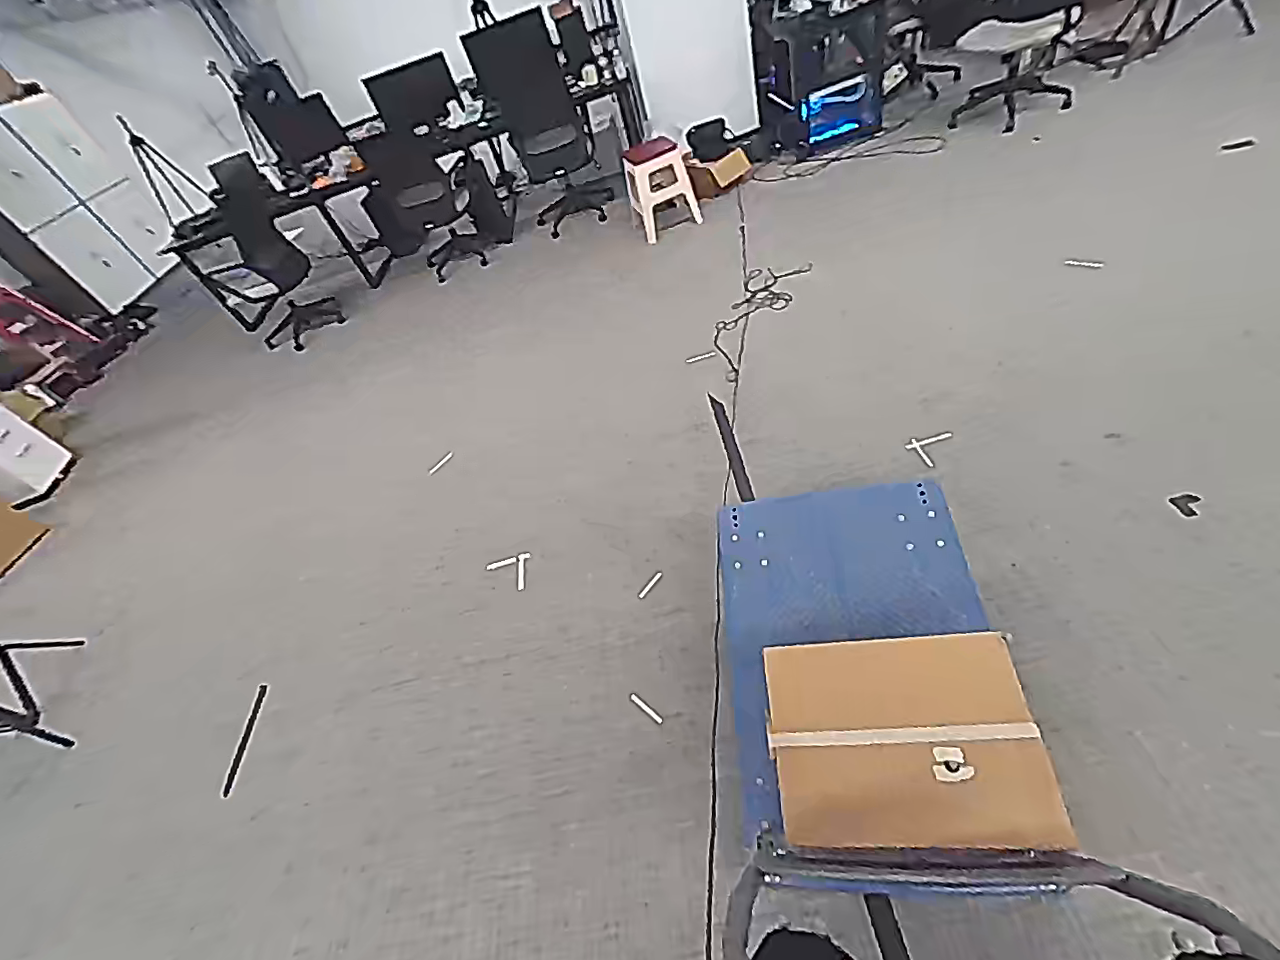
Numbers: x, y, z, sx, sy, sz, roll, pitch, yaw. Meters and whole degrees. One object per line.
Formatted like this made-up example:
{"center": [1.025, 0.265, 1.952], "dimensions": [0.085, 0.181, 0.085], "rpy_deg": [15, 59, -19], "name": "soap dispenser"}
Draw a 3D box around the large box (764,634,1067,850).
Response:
{"center": [0.465, 0.503, 1.022], "dimensions": [0.408, 0.320, 0.320], "rpy_deg": [-8, 58, 13], "name": "large box"}
